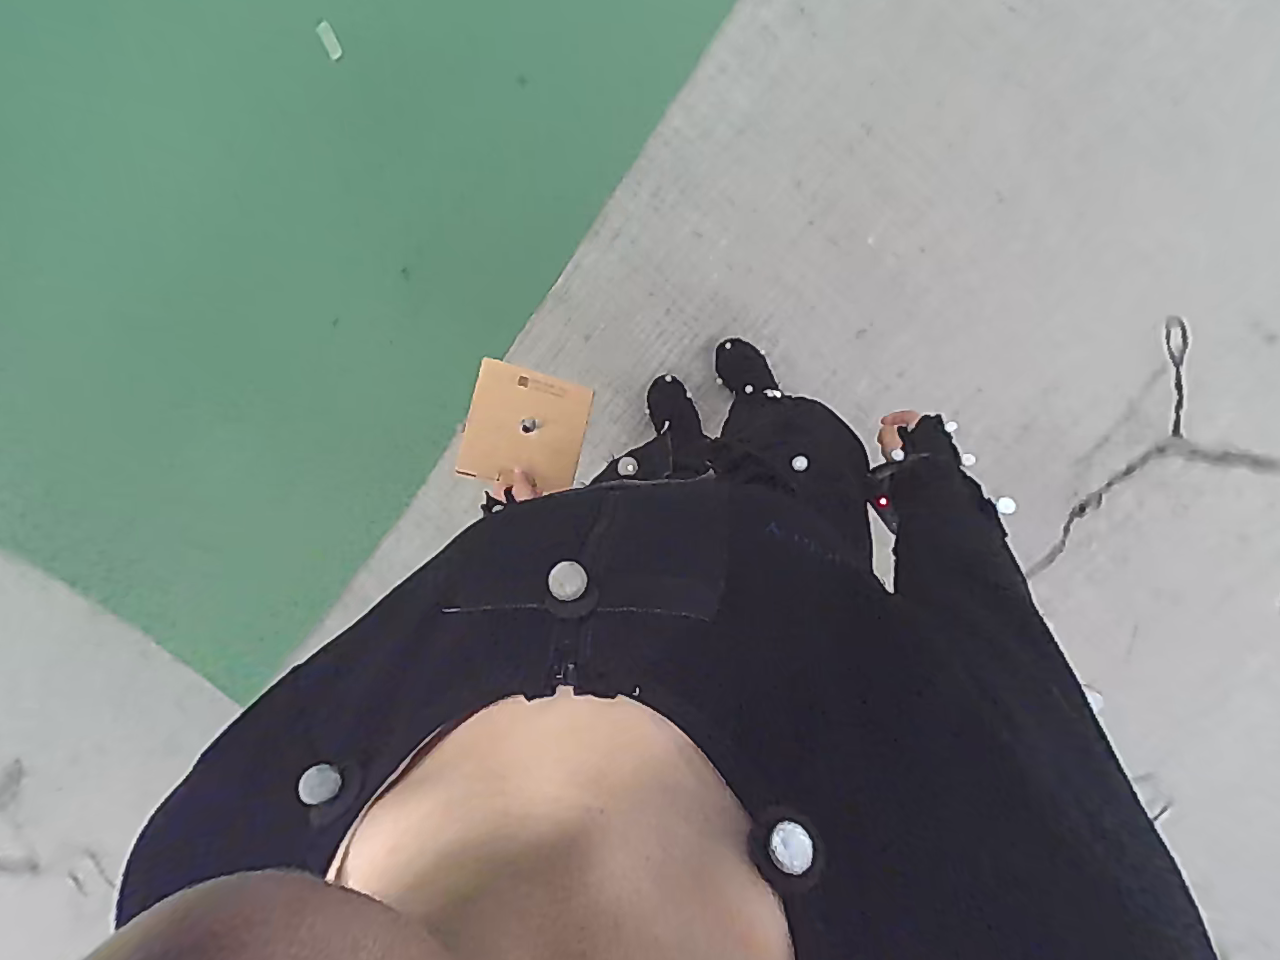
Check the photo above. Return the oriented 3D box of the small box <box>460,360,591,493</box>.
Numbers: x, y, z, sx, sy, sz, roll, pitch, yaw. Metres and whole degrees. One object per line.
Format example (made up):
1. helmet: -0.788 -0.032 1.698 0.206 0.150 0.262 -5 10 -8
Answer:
1. small box: -0.183 -0.077 0.852 0.168 0.179 0.176 12 85 -18
